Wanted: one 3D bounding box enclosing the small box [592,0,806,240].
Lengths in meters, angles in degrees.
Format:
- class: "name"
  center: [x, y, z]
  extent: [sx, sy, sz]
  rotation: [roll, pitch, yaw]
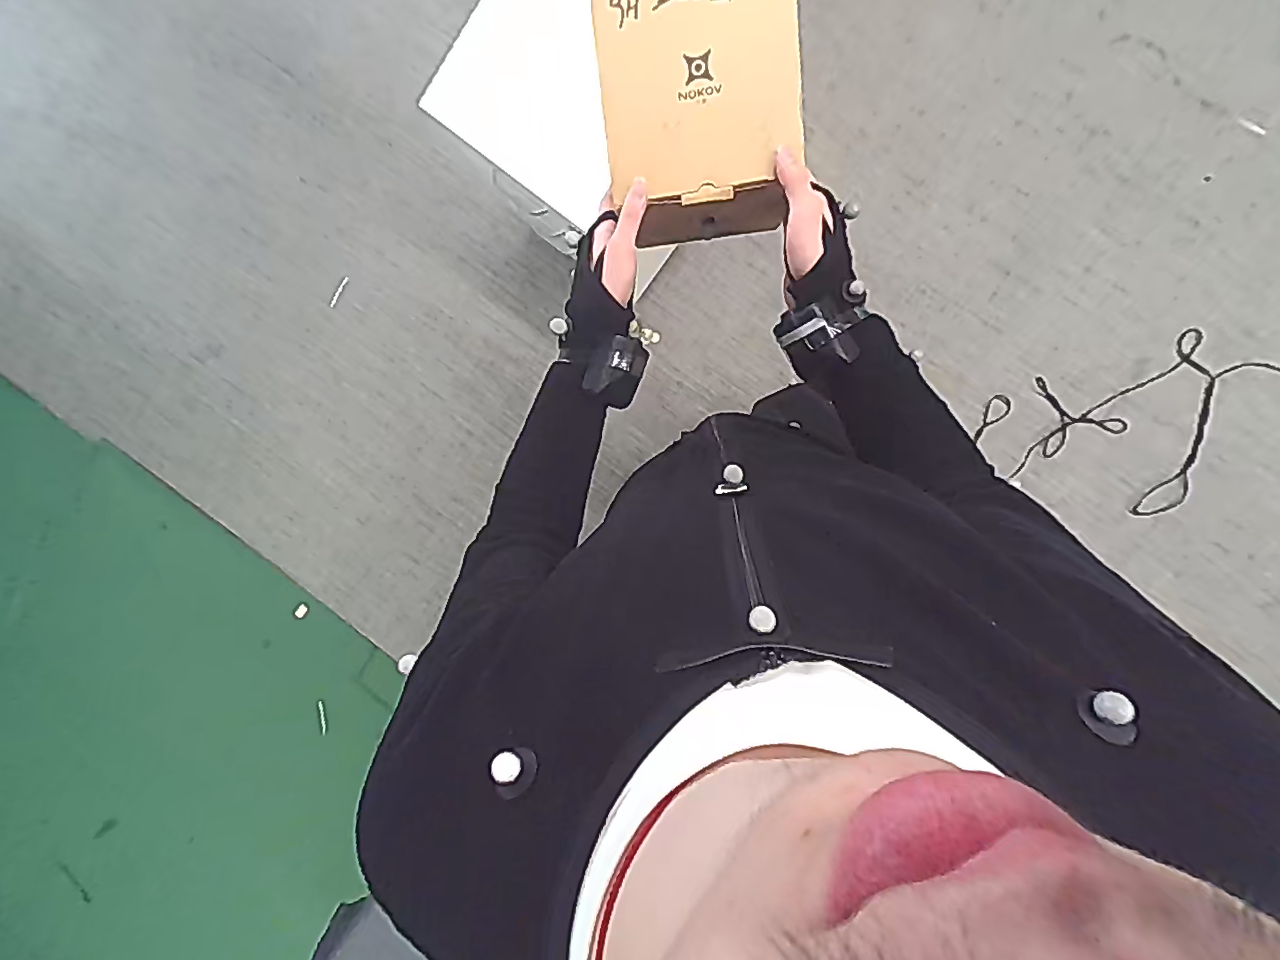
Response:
- class: "small box"
  center: [0.061, -0.349, 0.530]
  extent: [0.168, 0.176, 0.179]
  rotation: [-7, 100, 9]
